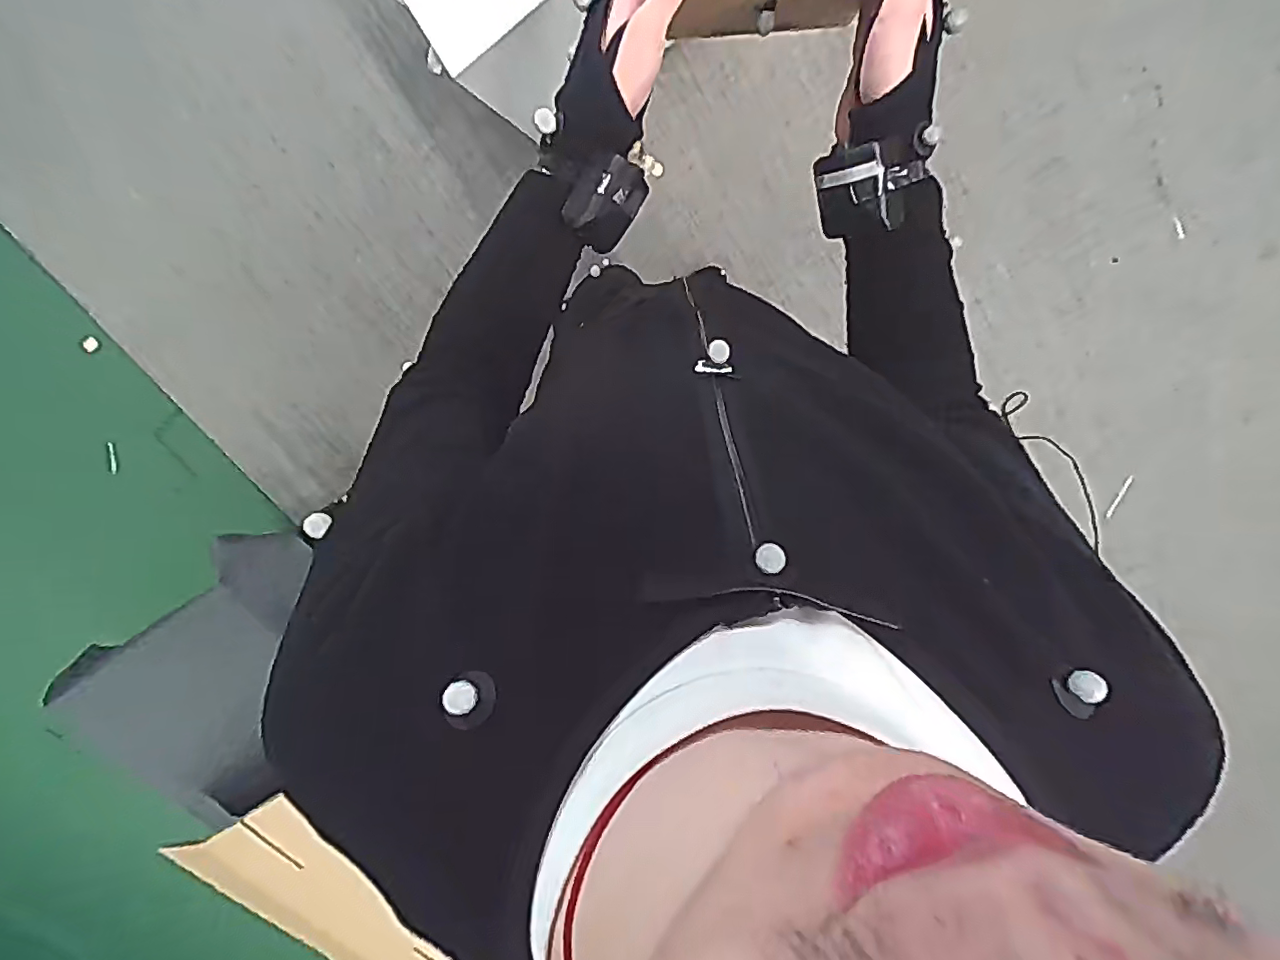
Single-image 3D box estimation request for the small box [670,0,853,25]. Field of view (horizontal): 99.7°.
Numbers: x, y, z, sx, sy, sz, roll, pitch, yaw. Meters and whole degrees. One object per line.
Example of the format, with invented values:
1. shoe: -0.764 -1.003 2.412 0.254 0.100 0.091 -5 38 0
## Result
1. small box: 0.095 -0.452 0.378 0.168 0.176 0.179 -2 117 8
